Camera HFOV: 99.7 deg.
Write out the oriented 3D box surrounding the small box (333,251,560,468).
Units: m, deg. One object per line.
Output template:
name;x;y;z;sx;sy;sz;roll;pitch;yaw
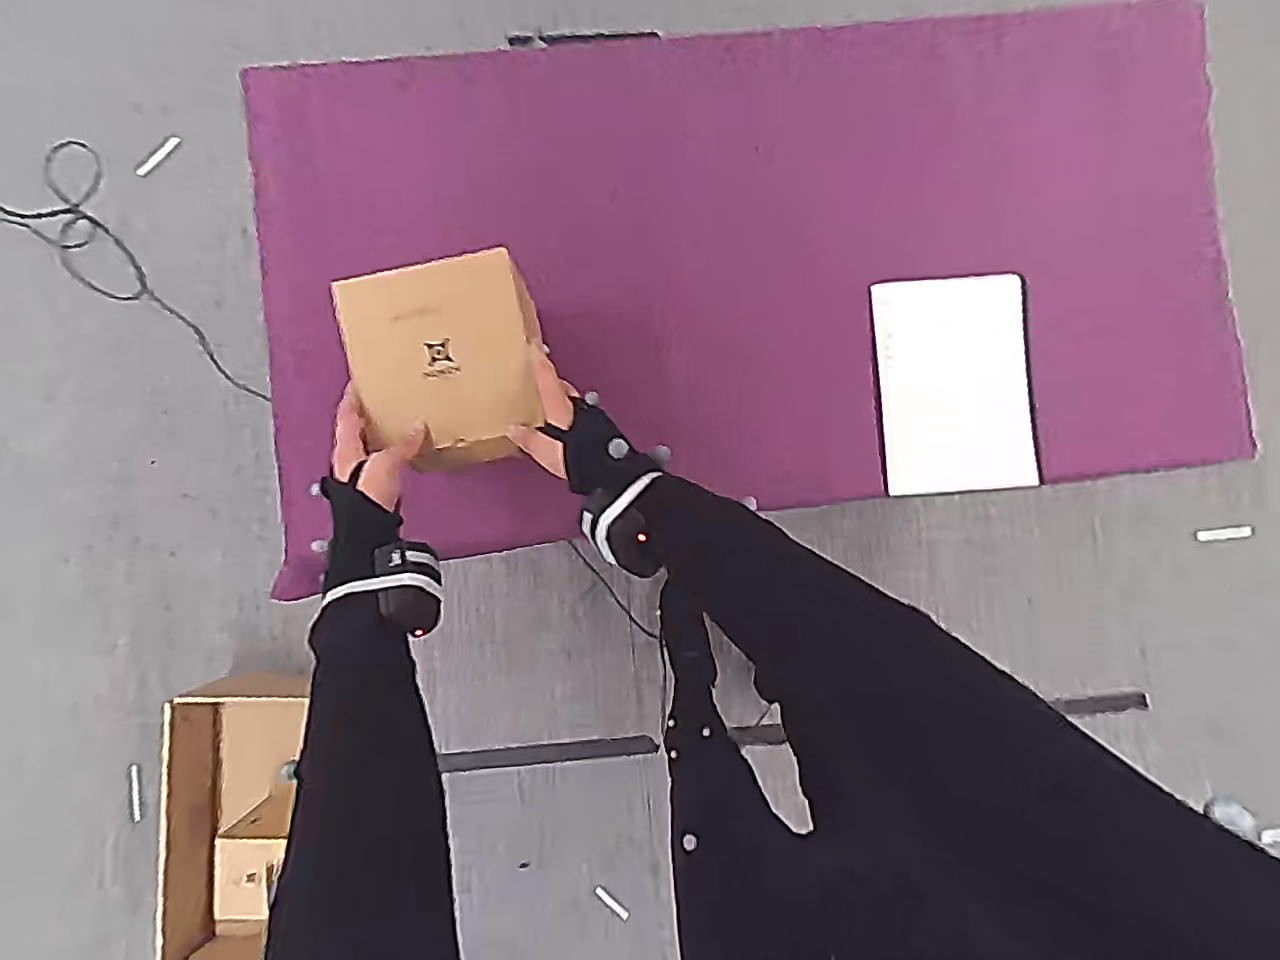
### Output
small box;-0.190;-0.115;0.583;0.168;0.176;0.179;-13;90;-2
